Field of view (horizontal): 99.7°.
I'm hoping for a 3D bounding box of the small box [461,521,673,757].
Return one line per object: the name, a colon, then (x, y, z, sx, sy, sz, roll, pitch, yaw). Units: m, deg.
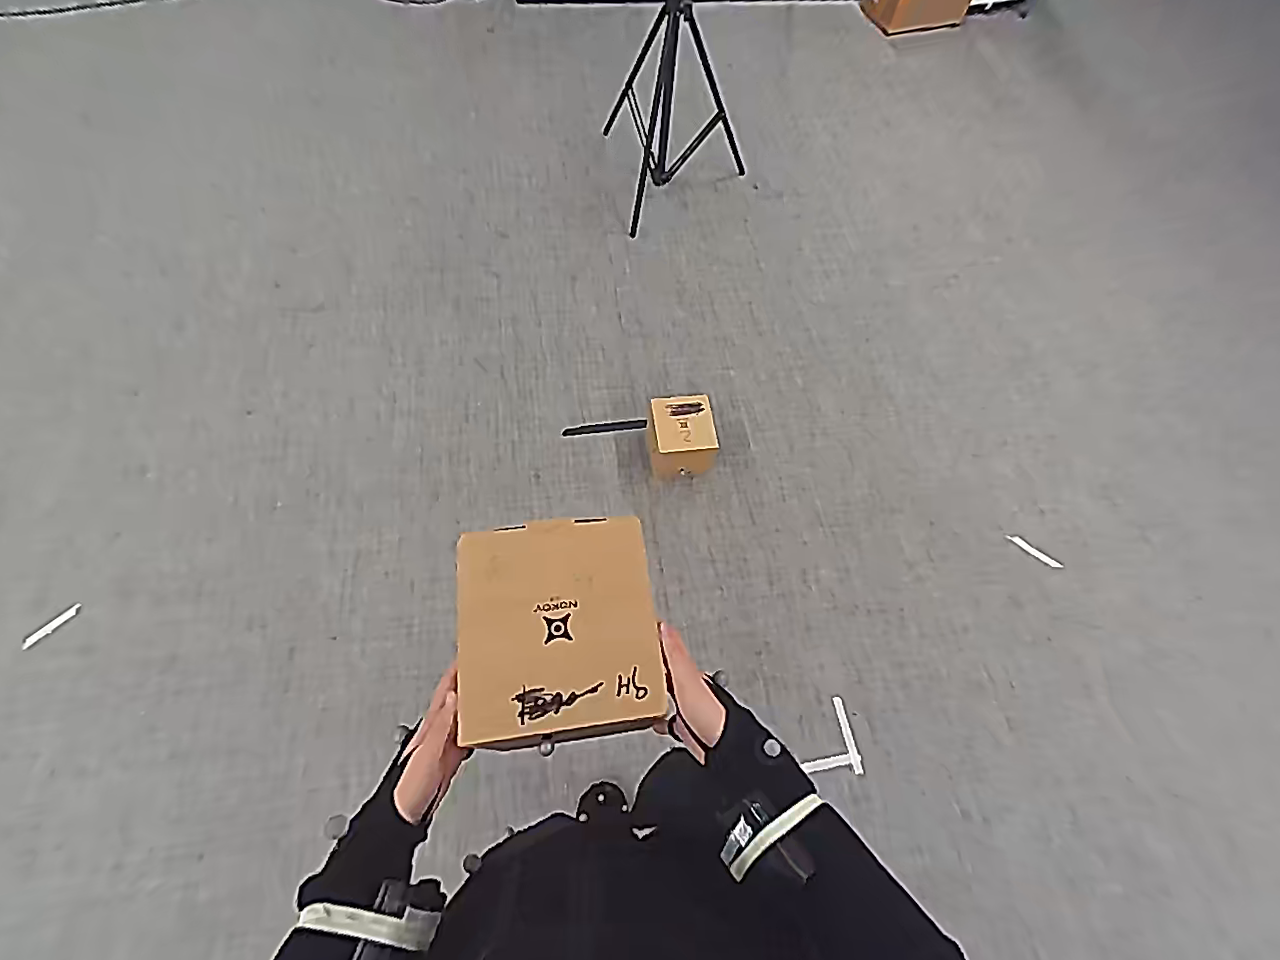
small box: (-0.071, 0.158, 0.523, 0.168, 0.176, 0.179, -6, 62, -7)
